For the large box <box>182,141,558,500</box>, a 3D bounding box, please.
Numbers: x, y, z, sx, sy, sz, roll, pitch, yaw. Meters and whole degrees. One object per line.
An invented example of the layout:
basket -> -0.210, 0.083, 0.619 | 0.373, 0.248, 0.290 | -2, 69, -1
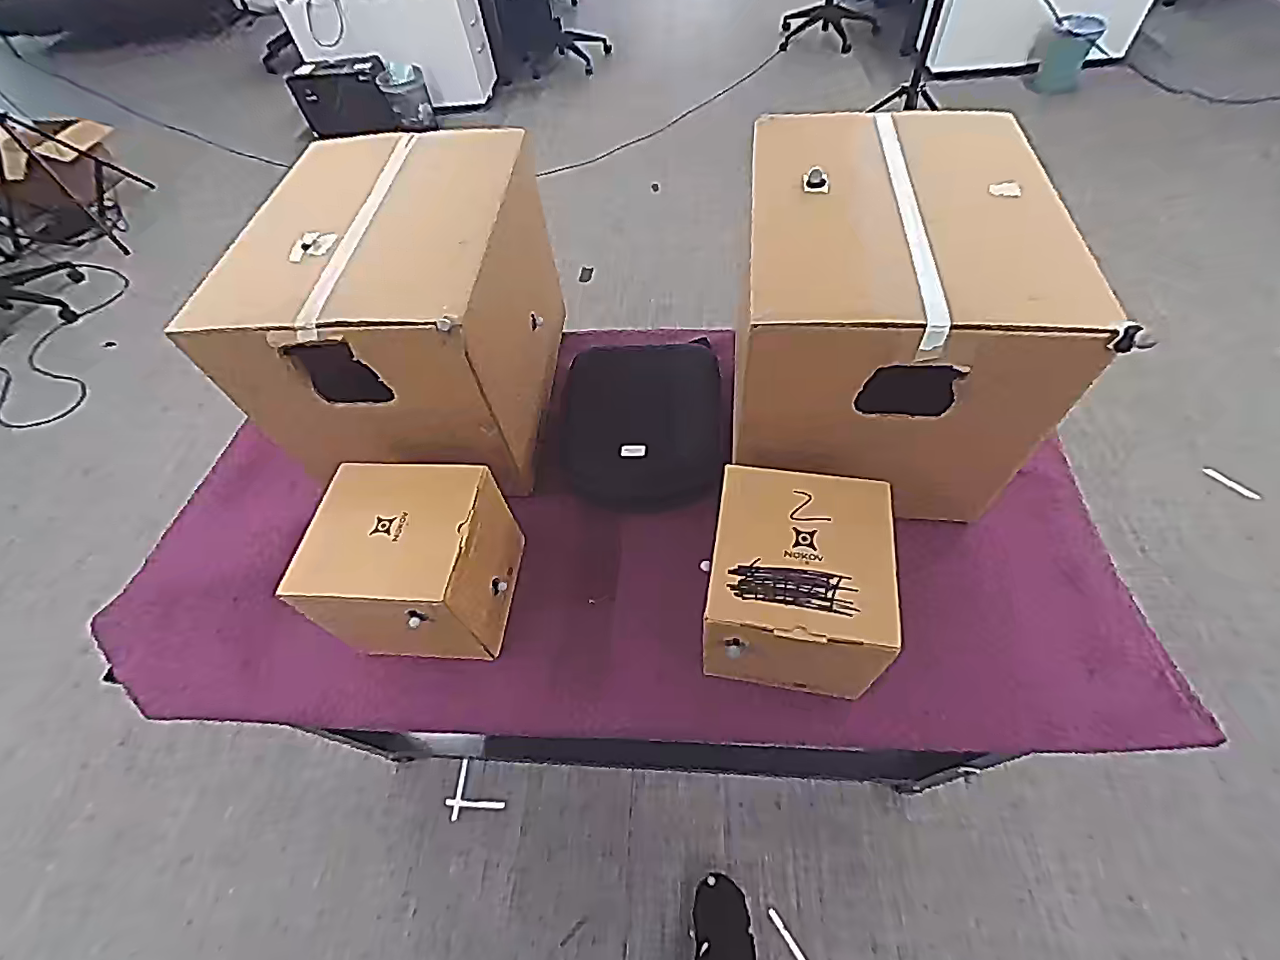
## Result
large box -> -0.309, -0.220, 0.775 | 0.320, 0.320, 0.408 | -1, 57, 5
